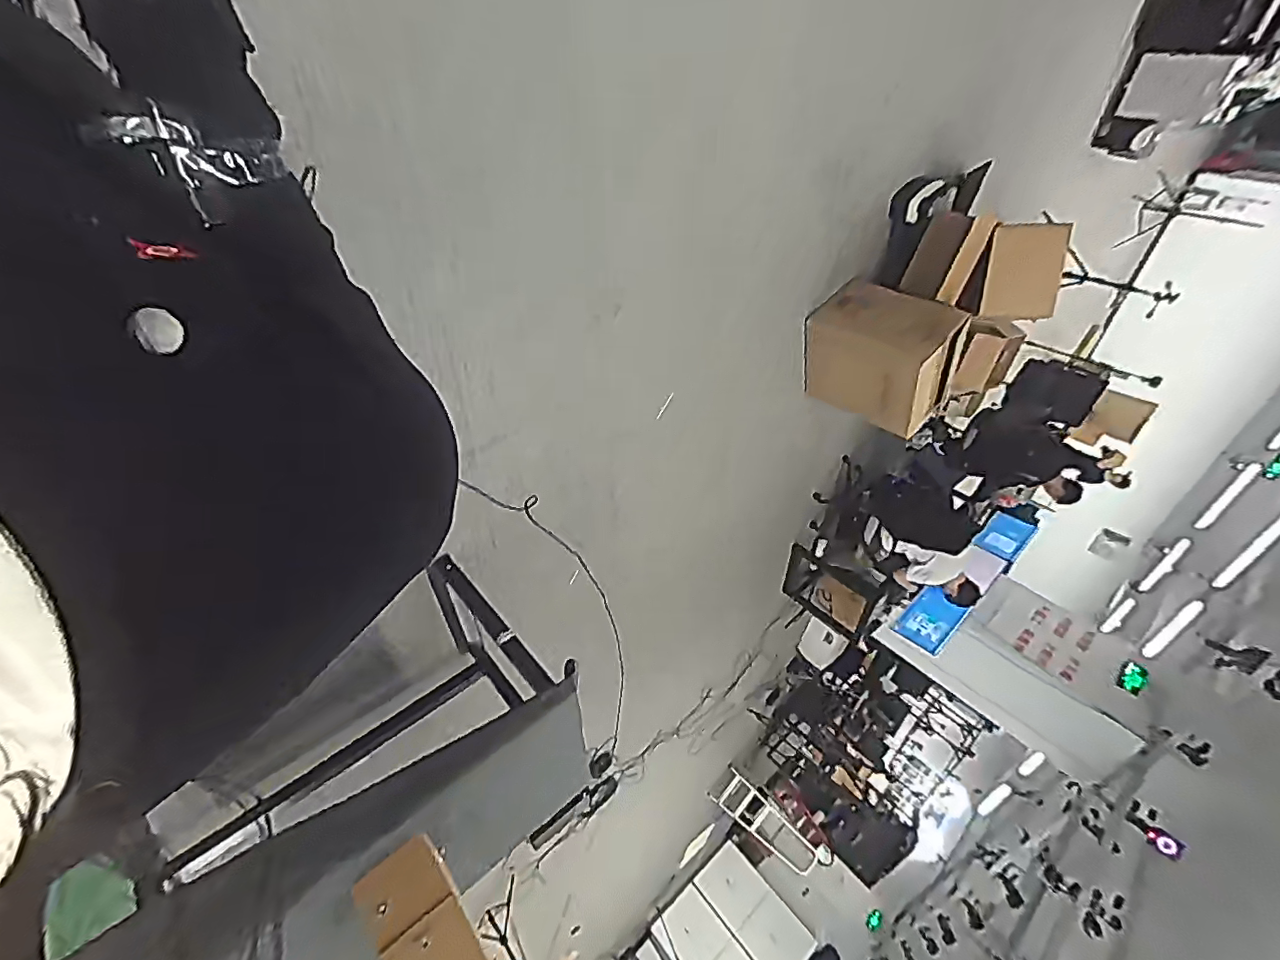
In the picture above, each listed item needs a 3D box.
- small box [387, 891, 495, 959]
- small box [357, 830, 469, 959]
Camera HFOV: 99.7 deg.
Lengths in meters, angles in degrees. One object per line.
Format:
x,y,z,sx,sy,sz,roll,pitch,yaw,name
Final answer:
-0.422,1.047,1.165,0.179,0.176,0.168,-29,139,-31,small box
-0.532,0.974,1.261,0.179,0.176,0.168,-33,141,-31,small box
